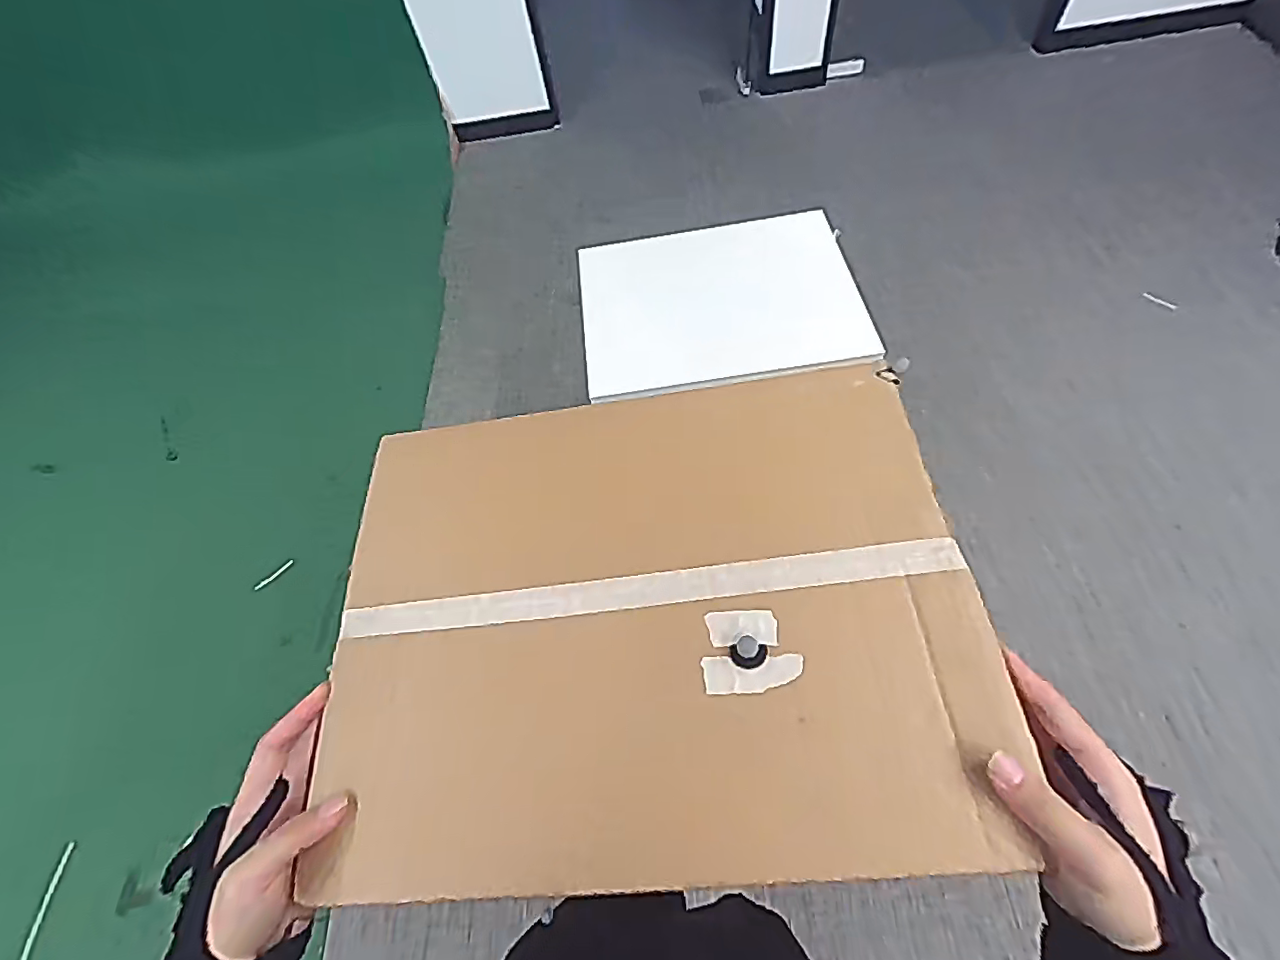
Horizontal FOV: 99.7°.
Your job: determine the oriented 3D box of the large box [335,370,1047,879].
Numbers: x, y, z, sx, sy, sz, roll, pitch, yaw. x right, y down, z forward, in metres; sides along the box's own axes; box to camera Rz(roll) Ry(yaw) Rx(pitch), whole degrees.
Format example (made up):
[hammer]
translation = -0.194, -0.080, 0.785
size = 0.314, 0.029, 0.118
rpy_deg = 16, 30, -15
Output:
[large box]
translation = 0.026, 0.142, 0.497
size = 0.408, 0.320, 0.320
rpy_deg = -7, 61, 5
